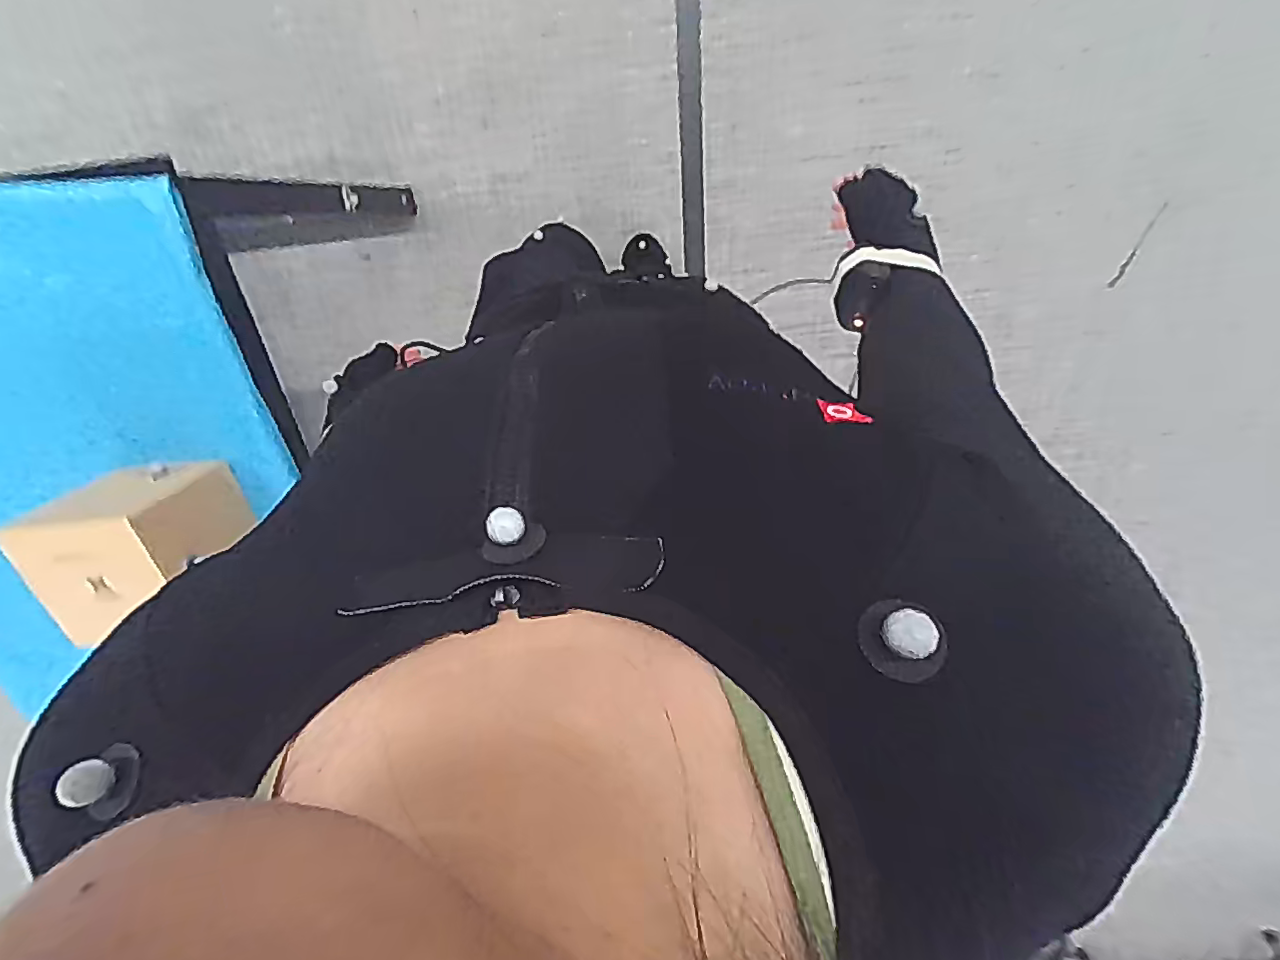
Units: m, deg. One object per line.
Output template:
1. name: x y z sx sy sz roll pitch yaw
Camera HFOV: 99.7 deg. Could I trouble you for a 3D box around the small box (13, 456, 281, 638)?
1. small box: -0.633 0.085 0.727 0.168 0.176 0.179 -5 117 4
